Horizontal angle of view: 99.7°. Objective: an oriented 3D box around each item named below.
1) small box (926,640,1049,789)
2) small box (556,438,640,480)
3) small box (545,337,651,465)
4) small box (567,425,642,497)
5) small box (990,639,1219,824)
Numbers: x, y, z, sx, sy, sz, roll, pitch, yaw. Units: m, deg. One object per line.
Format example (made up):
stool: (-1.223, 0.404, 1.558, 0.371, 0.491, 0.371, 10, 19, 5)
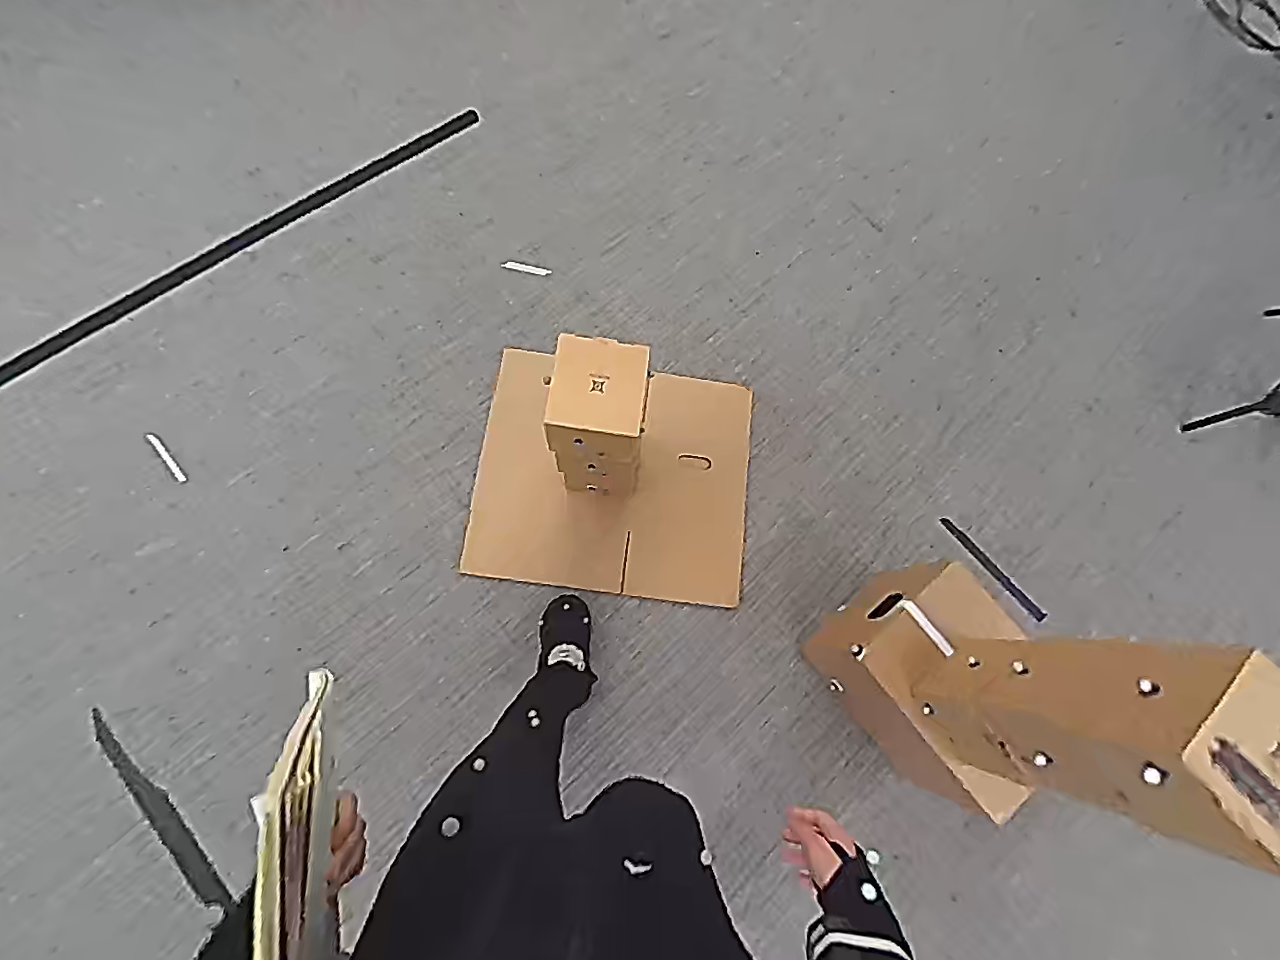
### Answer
small box: (0.654, 0.408, 0.973, 0.179, 0.176, 0.168, -34, 81, -13)
small box: (-0.086, -0.105, 1.169, 0.168, 0.176, 0.179, 6, 75, -5)
small box: (-0.076, -0.138, 1.010, 0.168, 0.176, 0.179, 8, 74, -3)
small box: (-0.089, -0.066, 1.329, 0.168, 0.176, 0.179, 4, 76, -5)
small box: (0.678, 0.362, 0.817, 0.179, 0.176, 0.168, -37, 83, -12)
